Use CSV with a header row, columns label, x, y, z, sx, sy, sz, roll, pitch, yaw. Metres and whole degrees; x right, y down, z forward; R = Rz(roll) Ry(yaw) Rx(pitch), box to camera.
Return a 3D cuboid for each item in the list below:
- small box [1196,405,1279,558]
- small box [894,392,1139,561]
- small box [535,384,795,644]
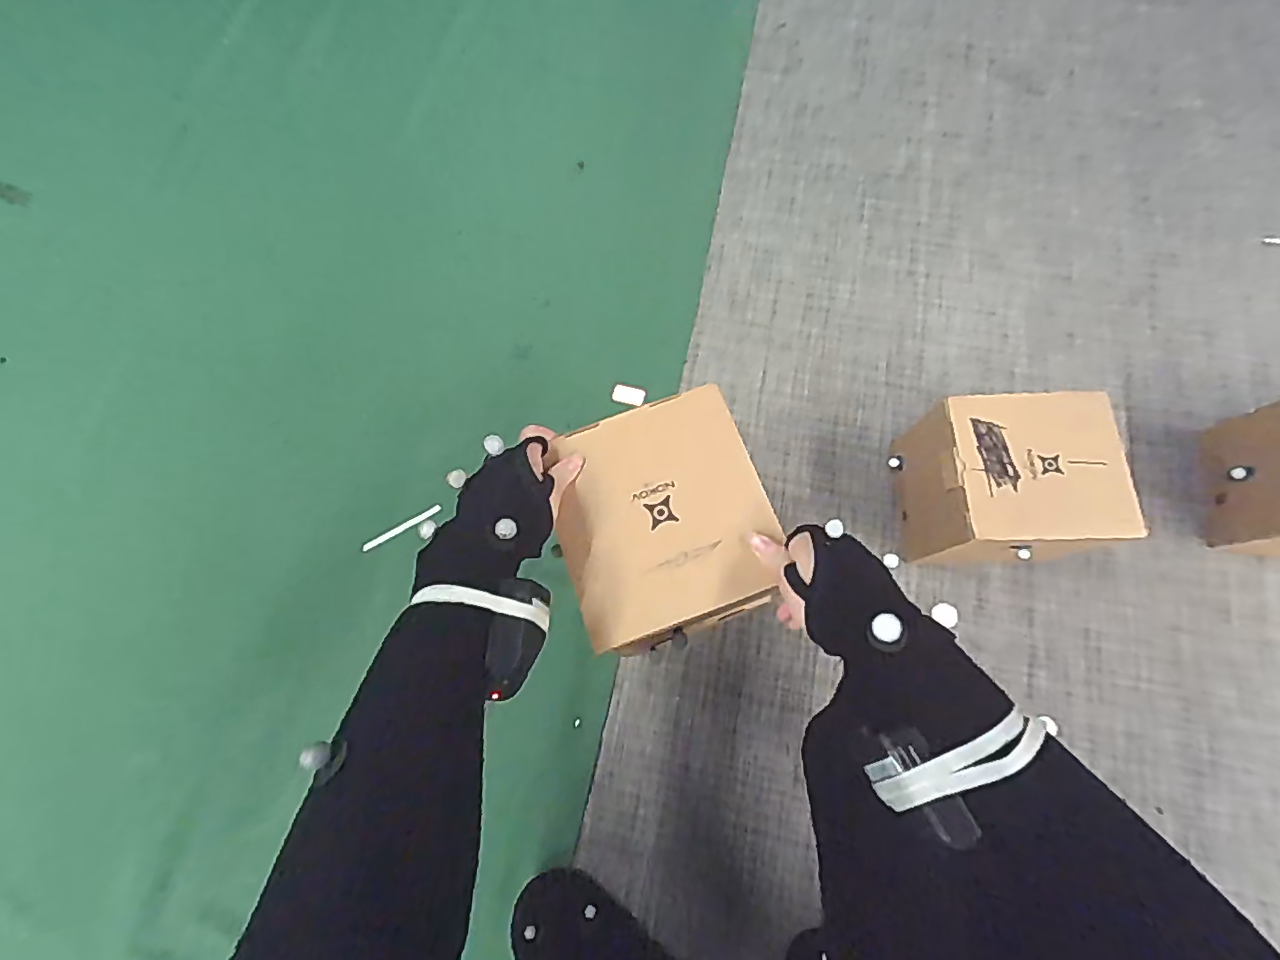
label,x,y,z,sx,sy,sz,roll,pitch,yaw
small box,0.827,0.000,0.636,0.179,0.176,0.168,11,73,7
small box,0.430,0.005,0.658,0.179,0.176,0.168,-1,73,2
small box,0.018,0.044,0.505,0.168,0.176,0.179,-20,73,-2
